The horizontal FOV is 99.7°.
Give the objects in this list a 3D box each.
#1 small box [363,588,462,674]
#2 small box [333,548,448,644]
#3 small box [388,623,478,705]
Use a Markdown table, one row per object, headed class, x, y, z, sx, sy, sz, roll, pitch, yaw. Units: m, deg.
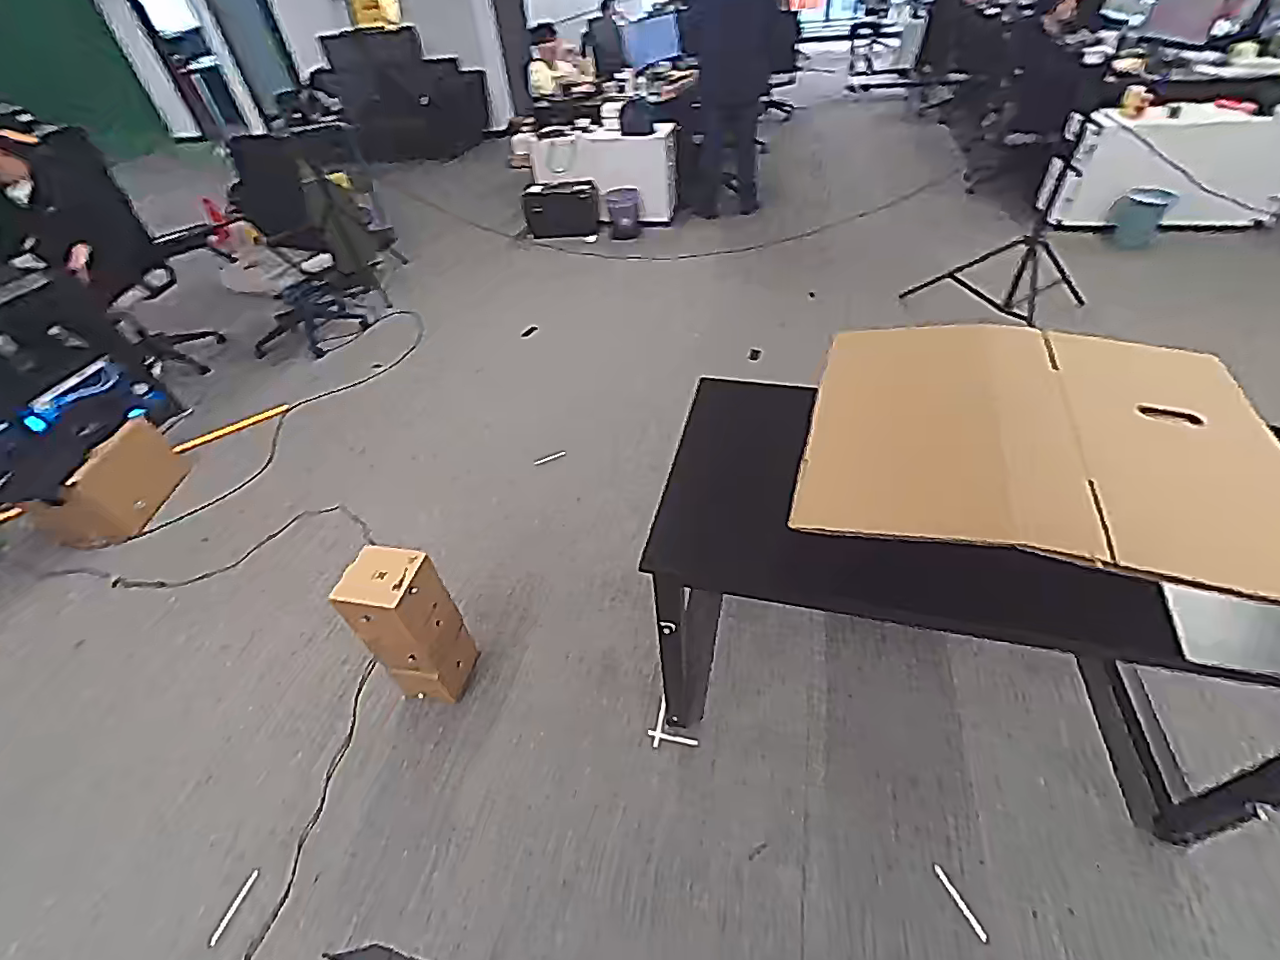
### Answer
| class | x | y | z | sx | sy | sz | roll | pitch | yaw |
| --- | --- | --- | --- | --- | --- | --- | --- | --- | --- |
| small box | -0.608 | 0.408 | 1.475 | 0.168 | 0.176 | 0.179 | 3 | 43 | 7 |
| small box | -0.616 | 0.292 | 1.359 | 0.179 | 0.176 | 0.168 | 5 | 45 | 11 |
| small box | -0.595 | 0.529 | 1.582 | 0.168 | 0.176 | 0.179 | 4 | 45 | 11 |
